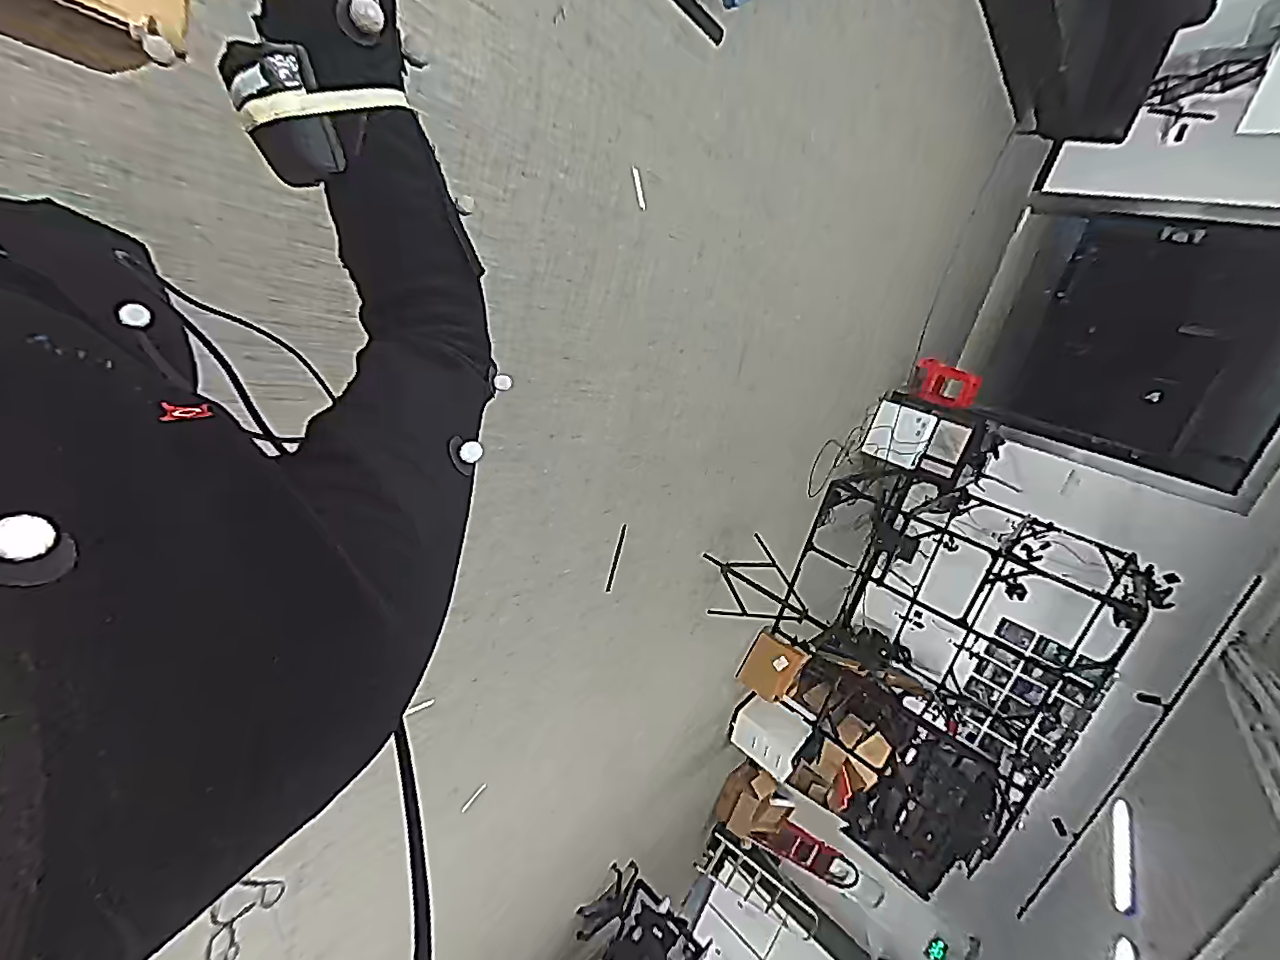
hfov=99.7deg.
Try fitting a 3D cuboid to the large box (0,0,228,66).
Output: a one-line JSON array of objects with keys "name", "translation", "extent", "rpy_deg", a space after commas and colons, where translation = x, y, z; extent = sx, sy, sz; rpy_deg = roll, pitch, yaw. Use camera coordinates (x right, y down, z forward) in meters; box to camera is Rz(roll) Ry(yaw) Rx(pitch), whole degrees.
[{"name": "large box", "translation": [-0.371, -0.457, 0.196], "extent": [0.320, 0.320, 0.408], "rpy_deg": [-4, 118, -48]}]
